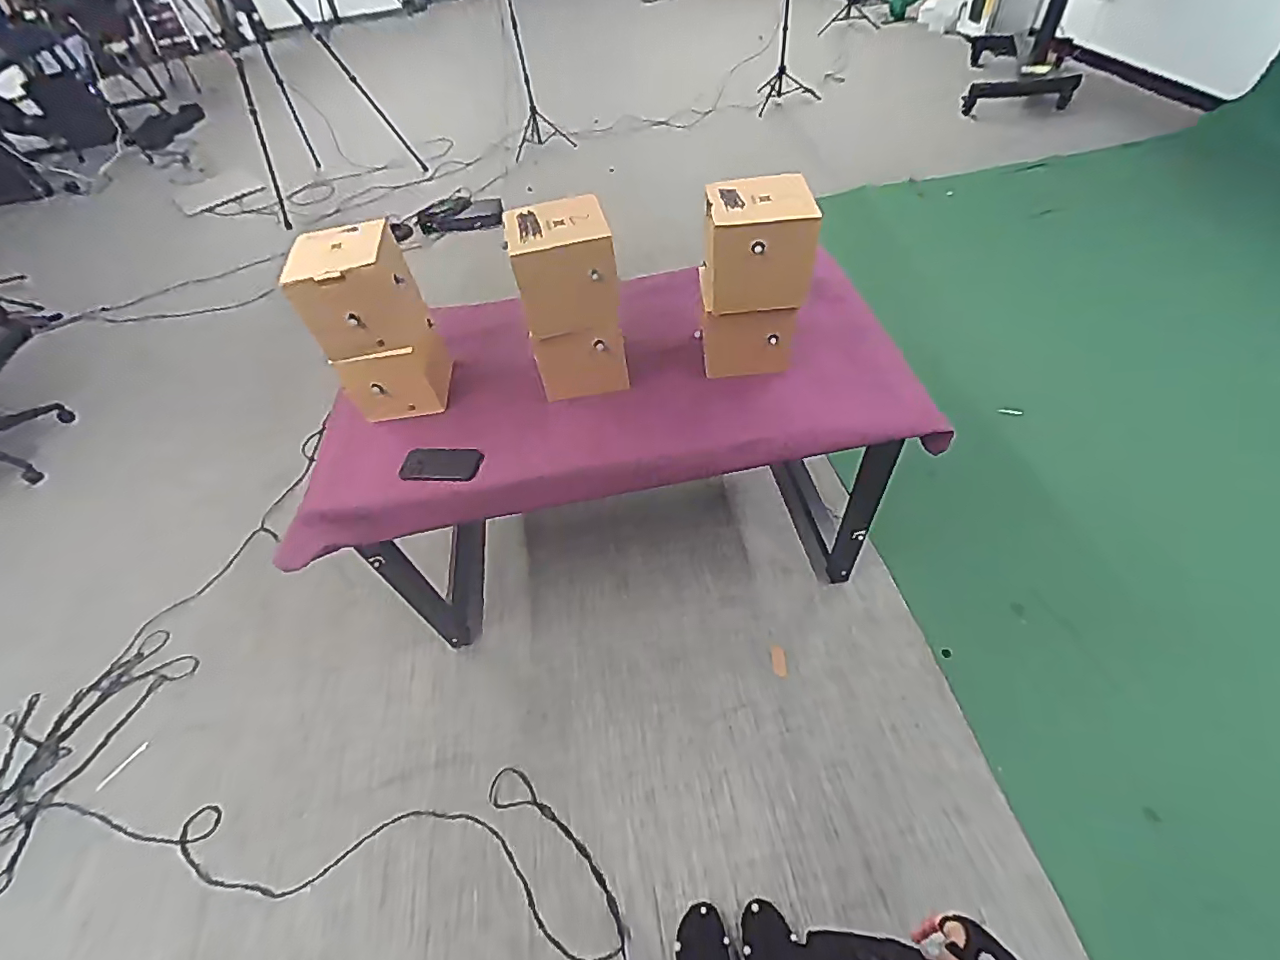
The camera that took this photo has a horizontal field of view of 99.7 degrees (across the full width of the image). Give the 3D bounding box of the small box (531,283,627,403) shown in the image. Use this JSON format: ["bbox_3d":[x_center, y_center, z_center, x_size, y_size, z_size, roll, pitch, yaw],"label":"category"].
[{"bbox_3d":[-0.121,-0.283,1.131,0.179,0.176,0.168,-8,51,1],"label":"small box"}]

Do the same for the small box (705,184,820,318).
[{"bbox_3d":[0.212,-0.411,0.983,0.179,0.176,0.168,-3,51,4],"label":"small box"}]

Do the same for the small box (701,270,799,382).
[{"bbox_3d":[0.217,-0.320,1.120,0.179,0.176,0.168,-3,51,5],"label":"small box"}]

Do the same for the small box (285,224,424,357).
[{"bbox_3d":[-0.526,-0.352,1.027,0.168,0.176,0.179,-11,52,-3],"label":"small box"}]

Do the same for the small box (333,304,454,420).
[{"bbox_3d":[-0.509,-0.243,1.149,0.168,0.176,0.179,-8,51,1],"label":"small box"}]
